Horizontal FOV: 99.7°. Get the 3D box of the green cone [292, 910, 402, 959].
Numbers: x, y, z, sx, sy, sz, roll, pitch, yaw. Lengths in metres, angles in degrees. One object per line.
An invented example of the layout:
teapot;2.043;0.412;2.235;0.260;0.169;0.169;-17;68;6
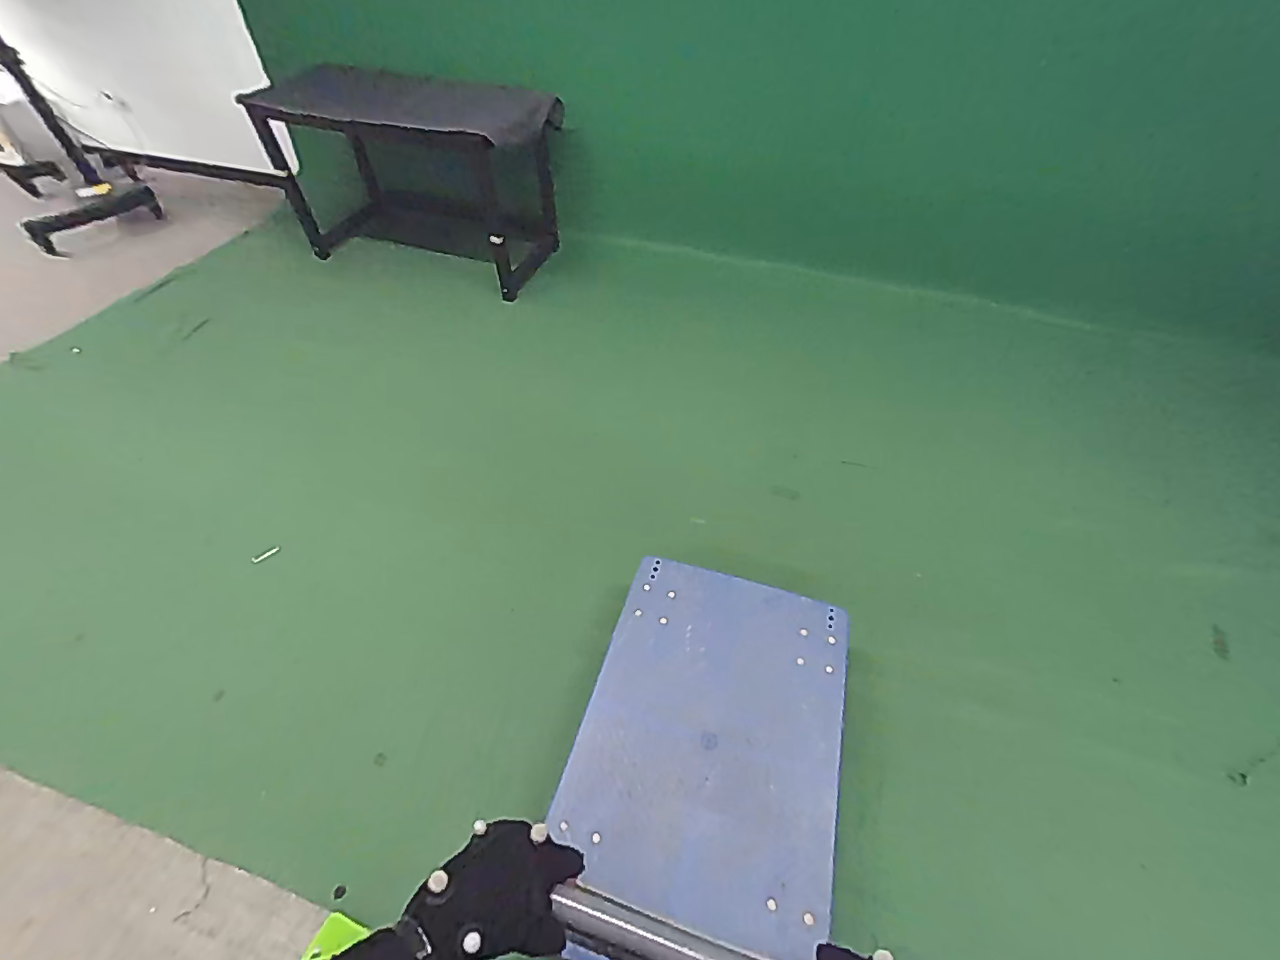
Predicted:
green cone;-0.600;0.887;0.938;0.202;0.368;0.200;17;50;14
